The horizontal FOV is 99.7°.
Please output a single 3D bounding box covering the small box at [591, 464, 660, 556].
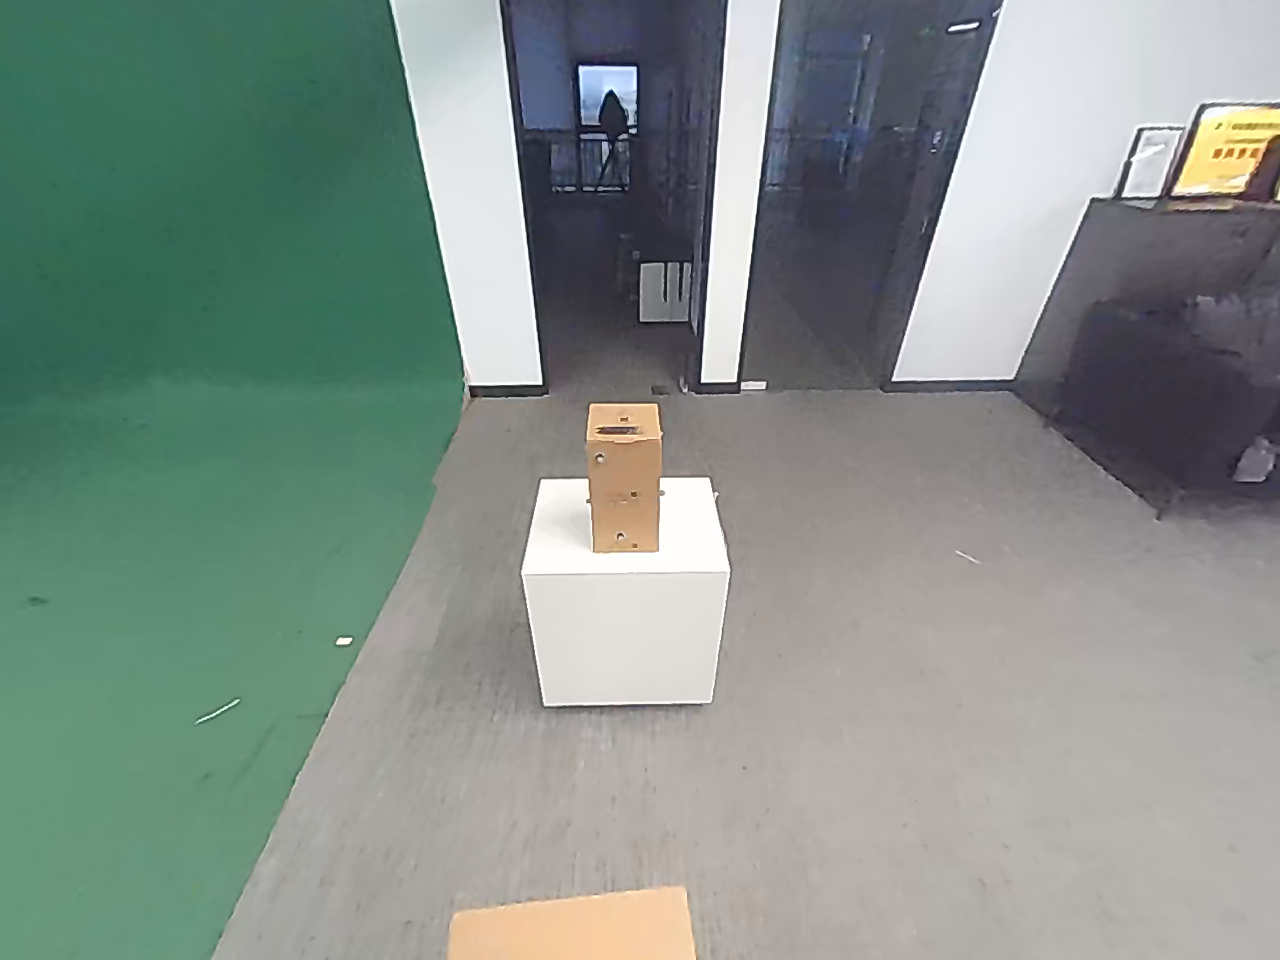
[{"bbox_3d":[-0.037,0.073,1.375,0.168,0.176,0.179,-1,34,-2],"label":"small box"}]
